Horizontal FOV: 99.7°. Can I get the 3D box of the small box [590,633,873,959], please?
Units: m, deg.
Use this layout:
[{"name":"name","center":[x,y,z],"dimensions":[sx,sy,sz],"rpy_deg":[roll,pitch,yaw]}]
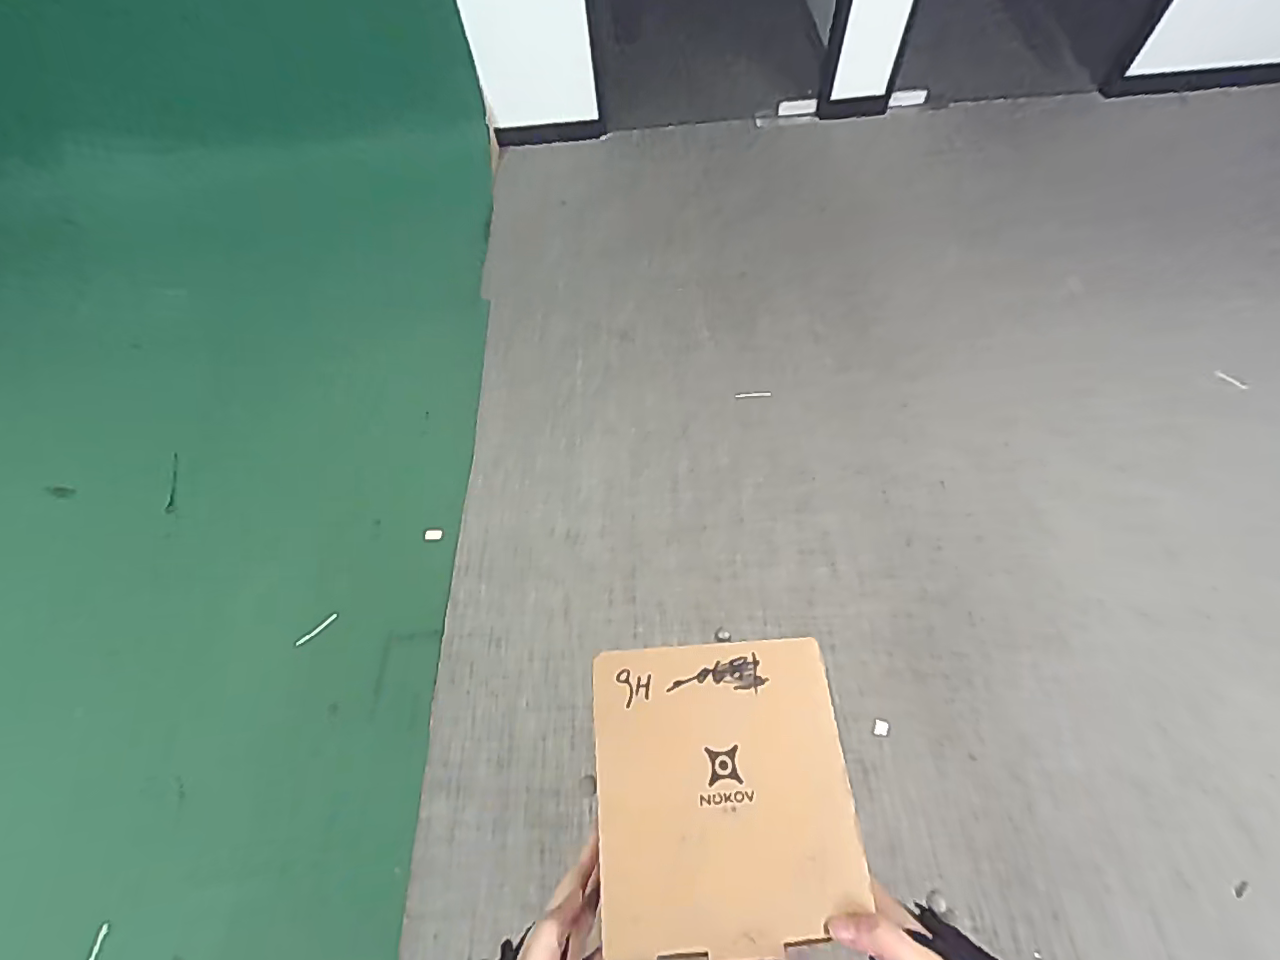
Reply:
[{"name":"small box","center":[0.049,0.225,0.419],"dimensions":[0.168,0.176,0.179],"rpy_deg":[-3,63,-4]}]
